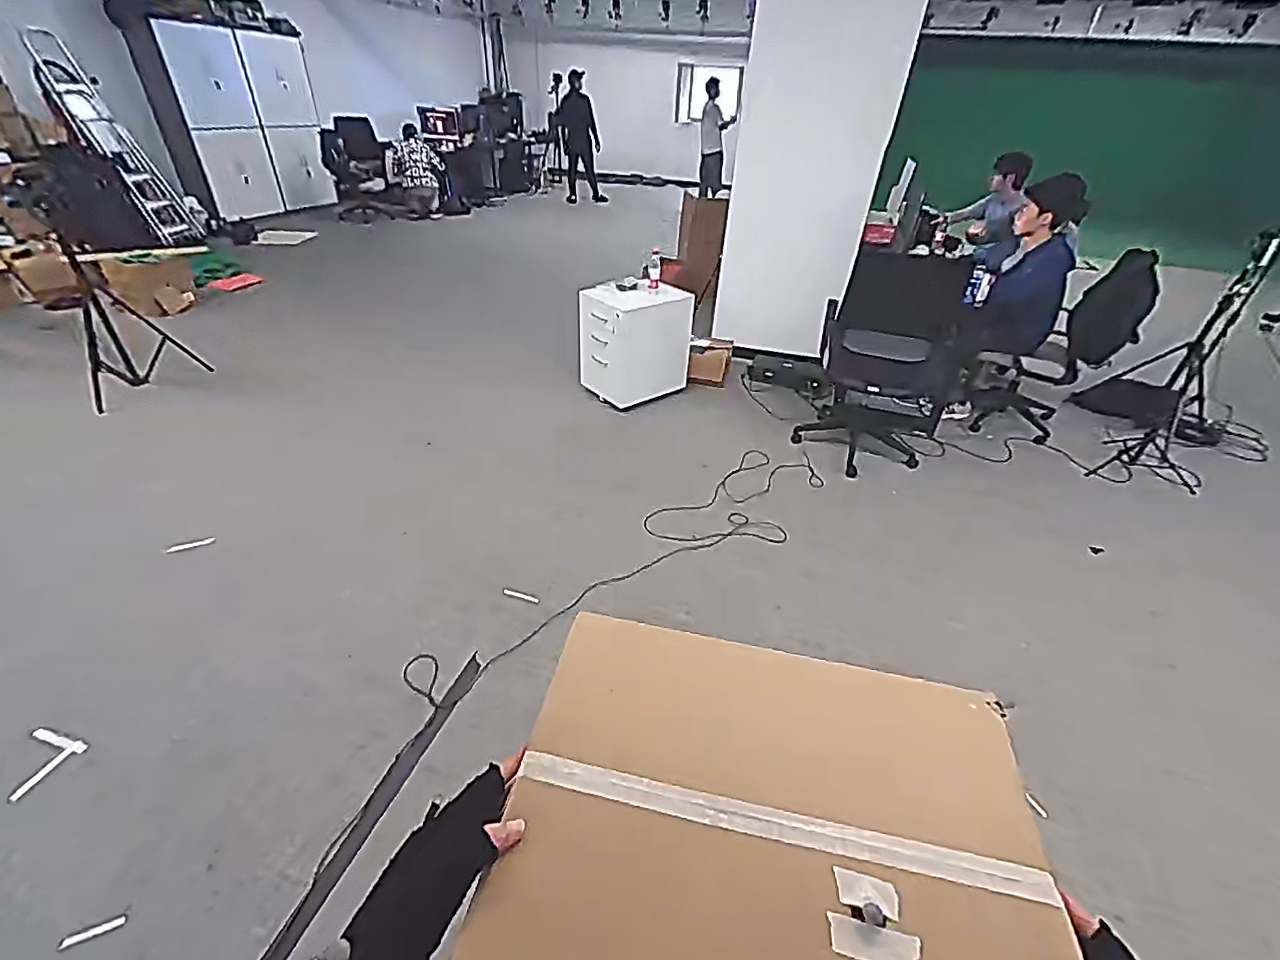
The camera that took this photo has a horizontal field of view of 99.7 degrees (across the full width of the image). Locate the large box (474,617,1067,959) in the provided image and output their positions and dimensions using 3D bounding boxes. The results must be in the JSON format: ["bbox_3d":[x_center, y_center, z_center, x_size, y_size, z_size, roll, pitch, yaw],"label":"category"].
[{"bbox_3d":[0.102,0.383,0.527,0.408,0.320,0.320,10,41,8],"label":"large box"}]
